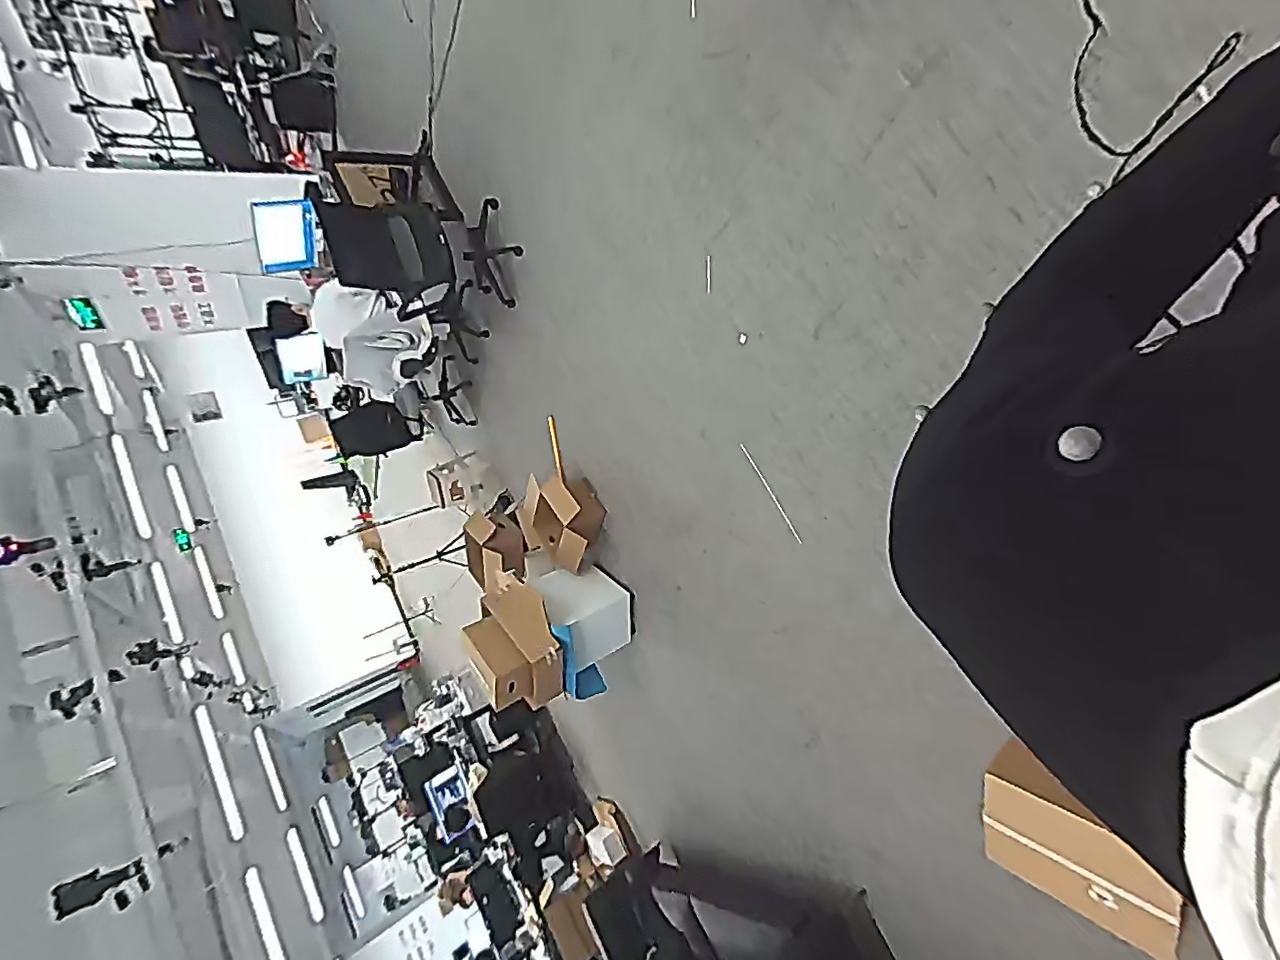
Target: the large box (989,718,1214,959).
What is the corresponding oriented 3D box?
[{"bbox_3d":[1.227,0.926,1.460,0.408,0.320,0.320,8,115,52],"label":"large box"}]
